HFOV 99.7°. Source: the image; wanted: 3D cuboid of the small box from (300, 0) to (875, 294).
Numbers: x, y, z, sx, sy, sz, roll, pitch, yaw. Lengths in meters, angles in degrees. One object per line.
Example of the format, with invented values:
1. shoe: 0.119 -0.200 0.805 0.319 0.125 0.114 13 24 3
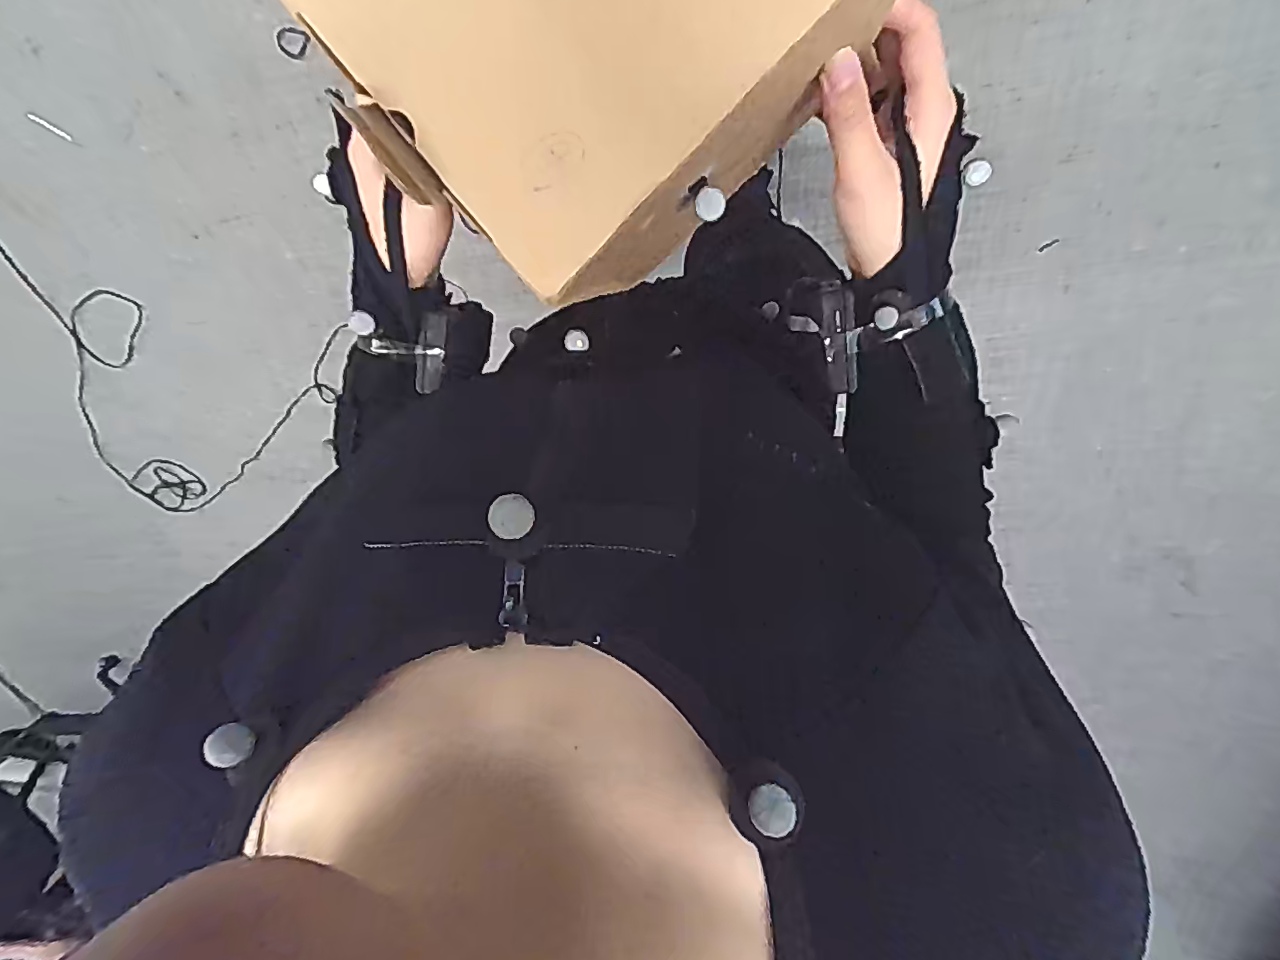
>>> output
1. small box: -0.007 -0.213 0.254 0.179 0.176 0.168 -38 100 23
